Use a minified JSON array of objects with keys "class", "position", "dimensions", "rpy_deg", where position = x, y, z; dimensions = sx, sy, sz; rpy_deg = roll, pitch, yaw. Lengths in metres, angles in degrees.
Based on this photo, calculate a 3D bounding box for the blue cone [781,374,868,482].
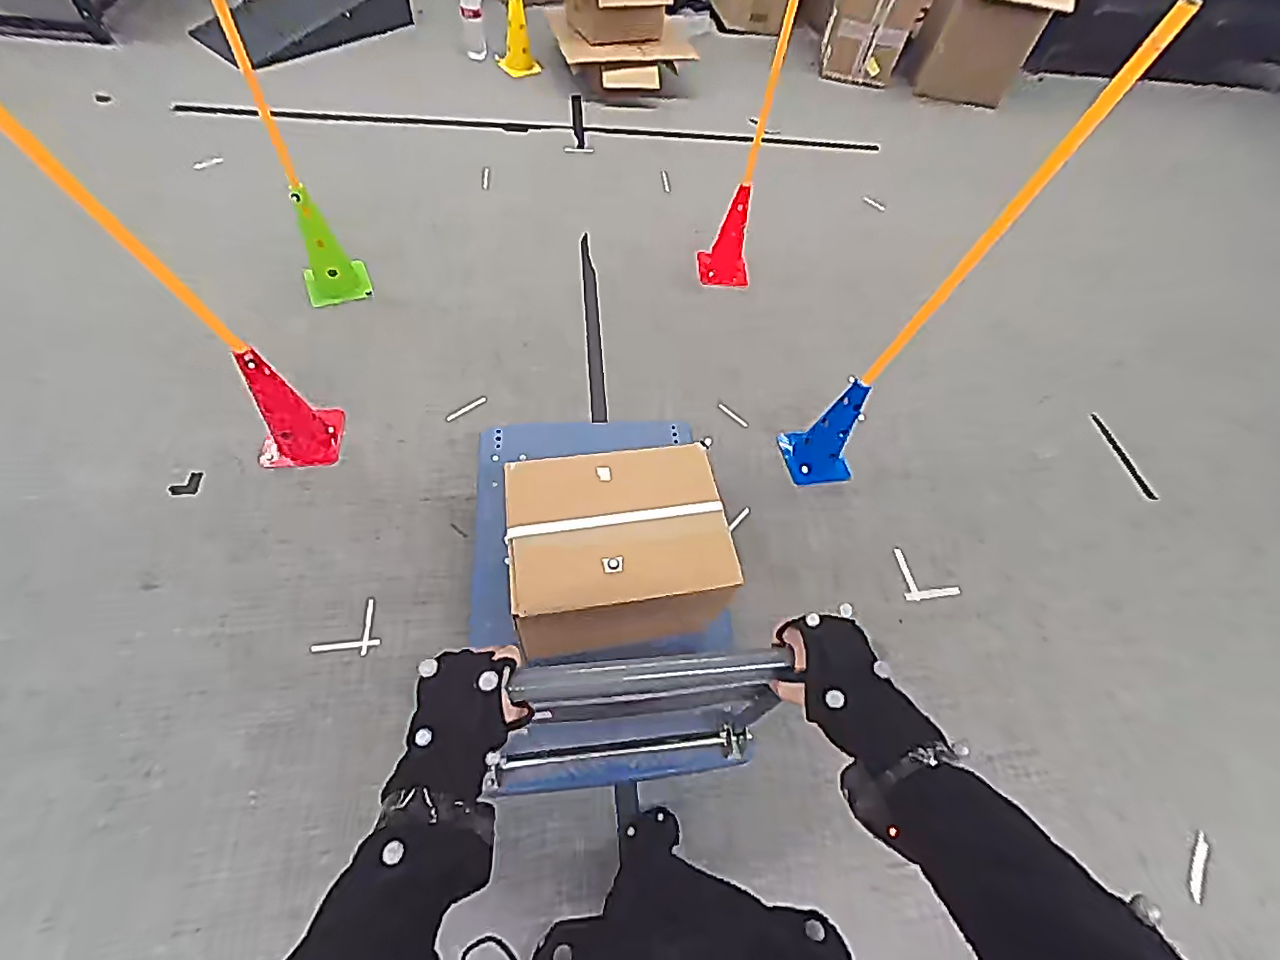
[{"class":"blue cone","position":[0.583,-0.166,1.609],"dimensions":[0.193,0.380,0.192],"rpy_deg":[-5,58,-11]}]

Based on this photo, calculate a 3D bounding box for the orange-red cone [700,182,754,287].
[{"class":"orange-red cone","position":[0.363,-0.939,2.037],"dimensions":[0.199,0.360,0.198],"rpy_deg":[4,59,-6]}]
